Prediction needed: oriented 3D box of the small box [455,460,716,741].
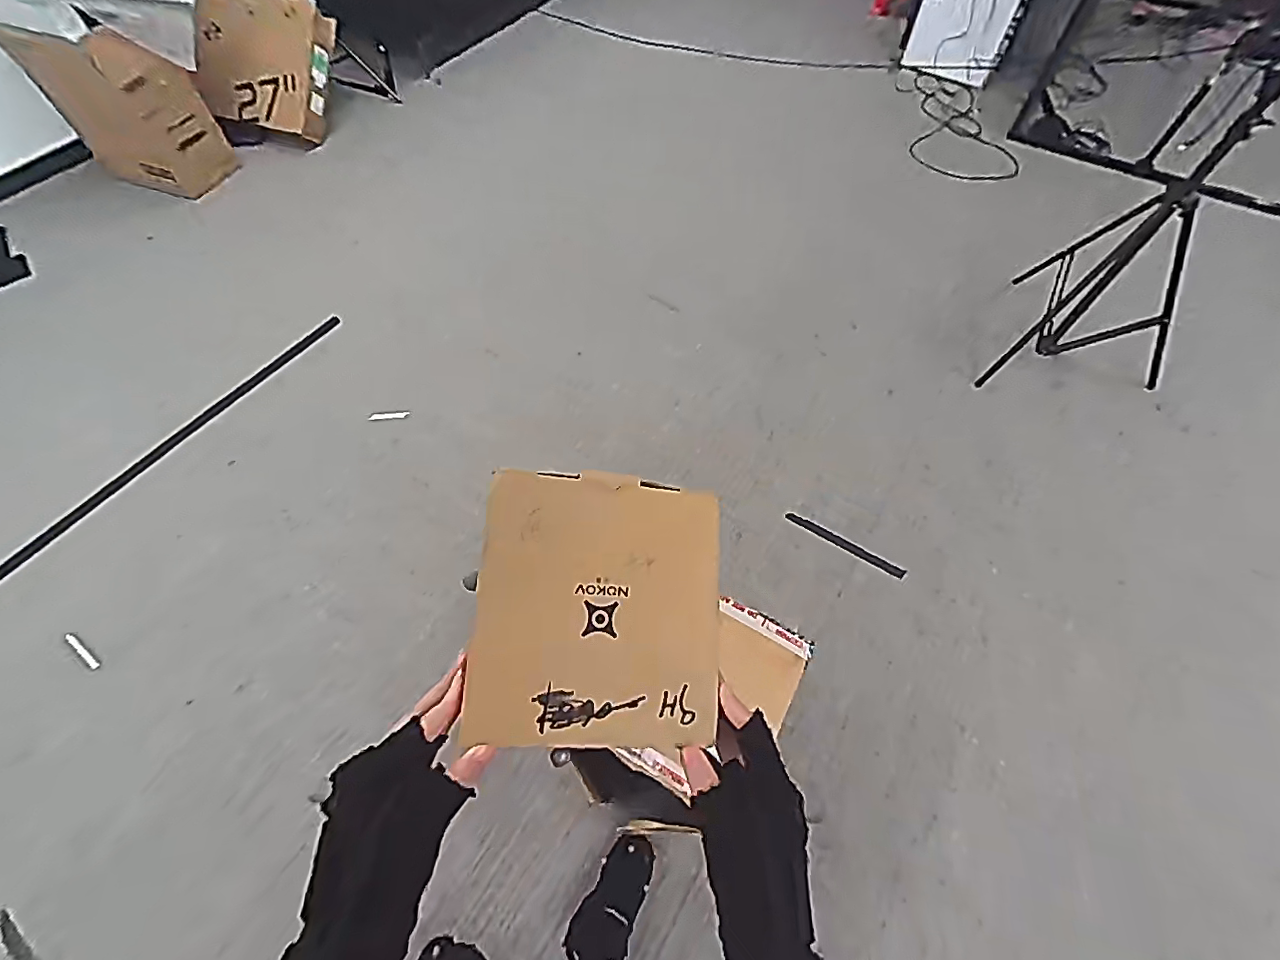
[{"bbox_3d":[-0.048,0.099,0.431,0.168,0.176,0.179,6,73,-14],"label":"small box"}]
